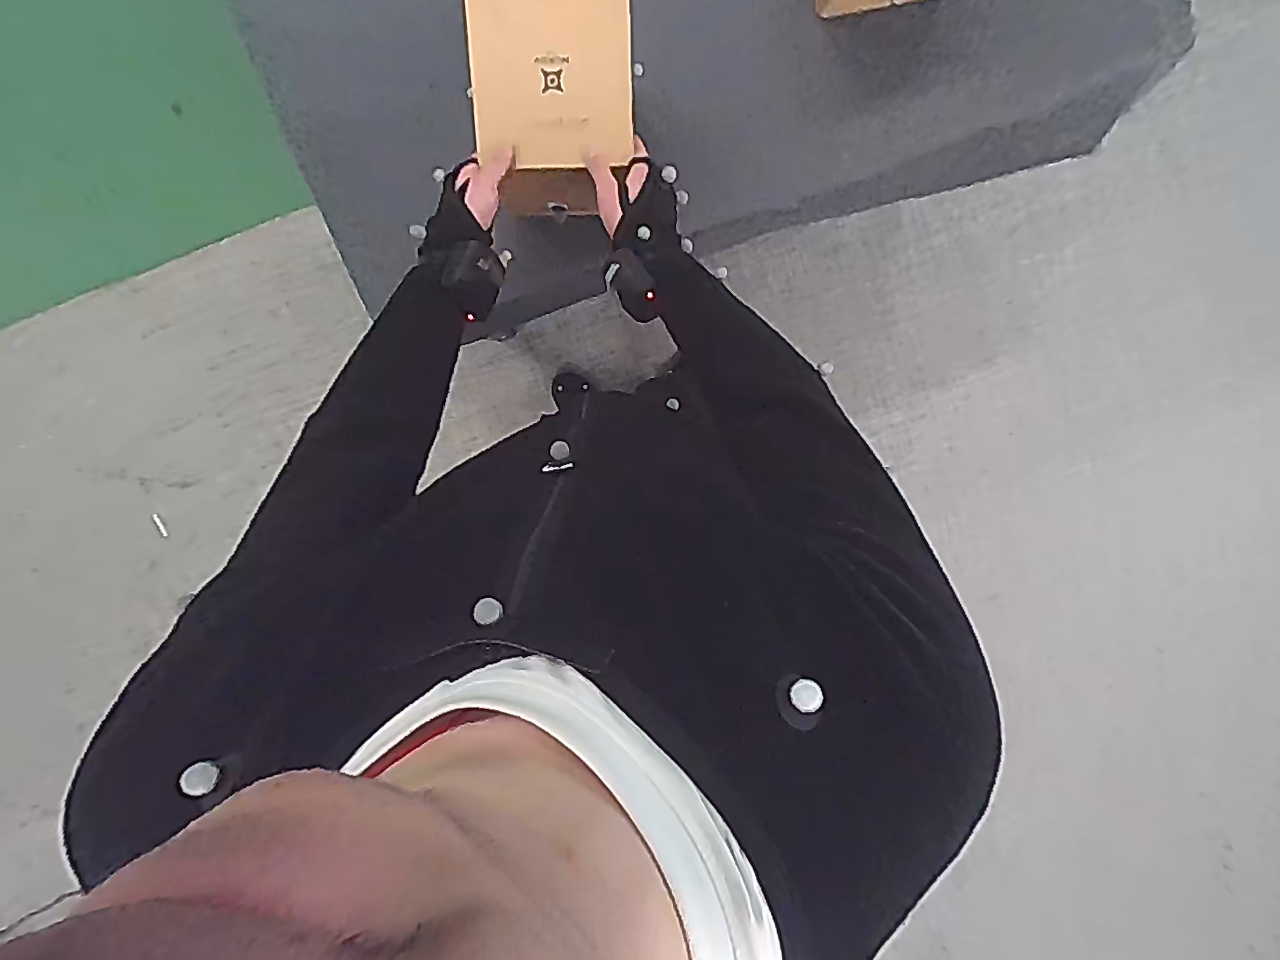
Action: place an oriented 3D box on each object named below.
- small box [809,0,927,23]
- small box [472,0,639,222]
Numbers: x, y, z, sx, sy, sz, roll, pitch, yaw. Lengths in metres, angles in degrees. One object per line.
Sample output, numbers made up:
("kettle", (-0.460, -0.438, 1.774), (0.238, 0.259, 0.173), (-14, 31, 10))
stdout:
("small box", (0.307, -0.681, 0.627), (0.179, 0.176, 0.168), (-12, 104, -1))
("small box", (-0.087, -0.415, 0.619), (0.168, 0.176, 0.179), (1, 100, -1))
